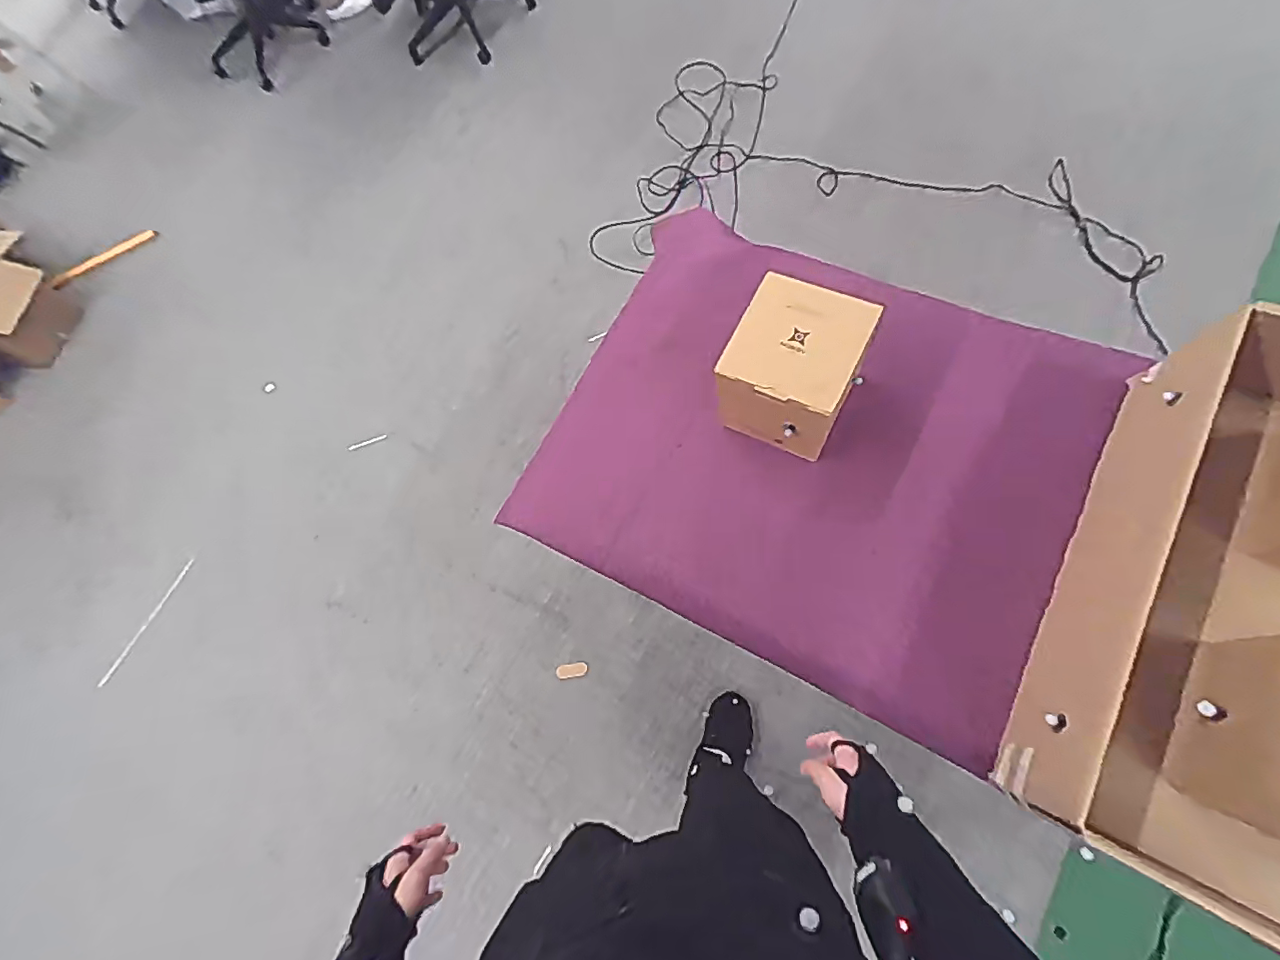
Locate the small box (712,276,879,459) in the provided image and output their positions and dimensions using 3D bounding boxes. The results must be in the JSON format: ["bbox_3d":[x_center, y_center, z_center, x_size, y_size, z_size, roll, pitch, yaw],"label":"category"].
[{"bbox_3d":[0.220,-0.155,0.791,0.168,0.176,0.179,26,77,17],"label":"small box"}]
